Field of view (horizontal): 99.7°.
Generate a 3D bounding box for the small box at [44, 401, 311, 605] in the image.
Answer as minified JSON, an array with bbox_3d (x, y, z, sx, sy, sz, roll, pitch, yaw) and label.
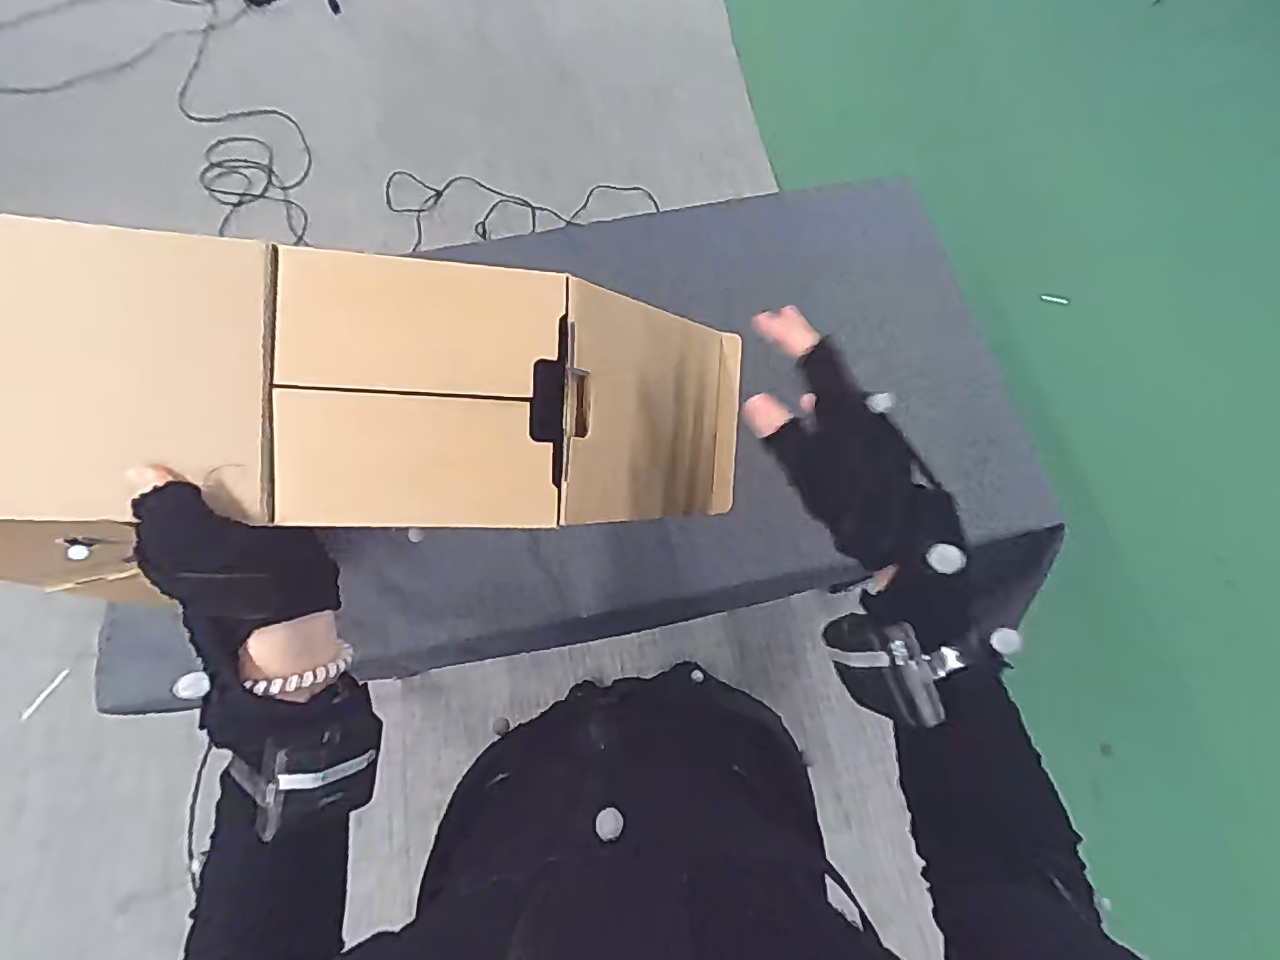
[{"bbox_3d":[-0.513,0.035,0.631,0.168,0.176,0.179,-12,71,-3],"label":"small box"}]
